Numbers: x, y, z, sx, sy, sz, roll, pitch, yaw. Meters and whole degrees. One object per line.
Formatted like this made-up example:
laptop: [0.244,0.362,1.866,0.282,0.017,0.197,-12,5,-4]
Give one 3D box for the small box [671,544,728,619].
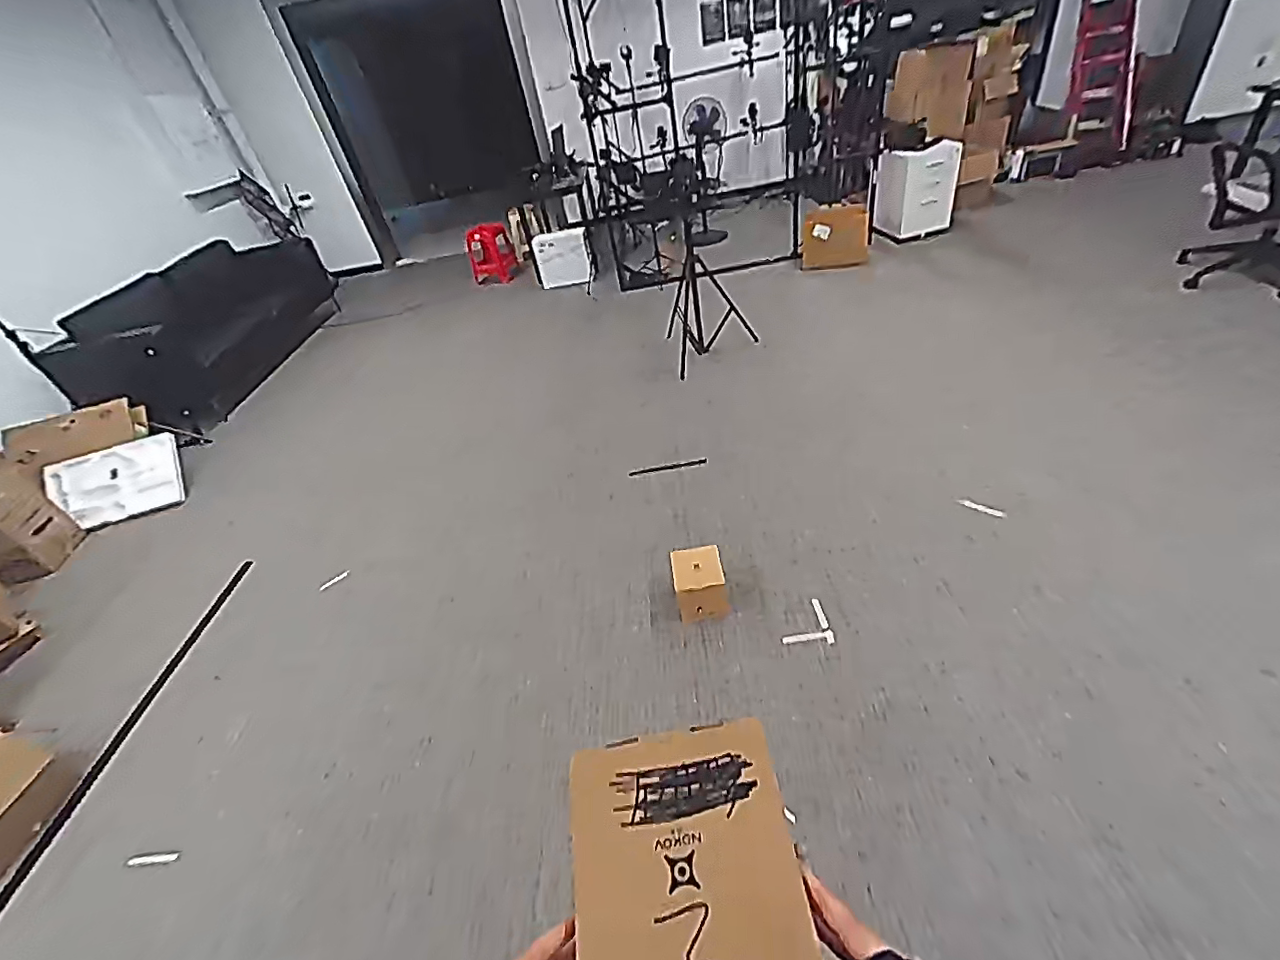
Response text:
small box: [0.203,0.347,1.849,0.168,0.176,0.179,-10,39,3]
